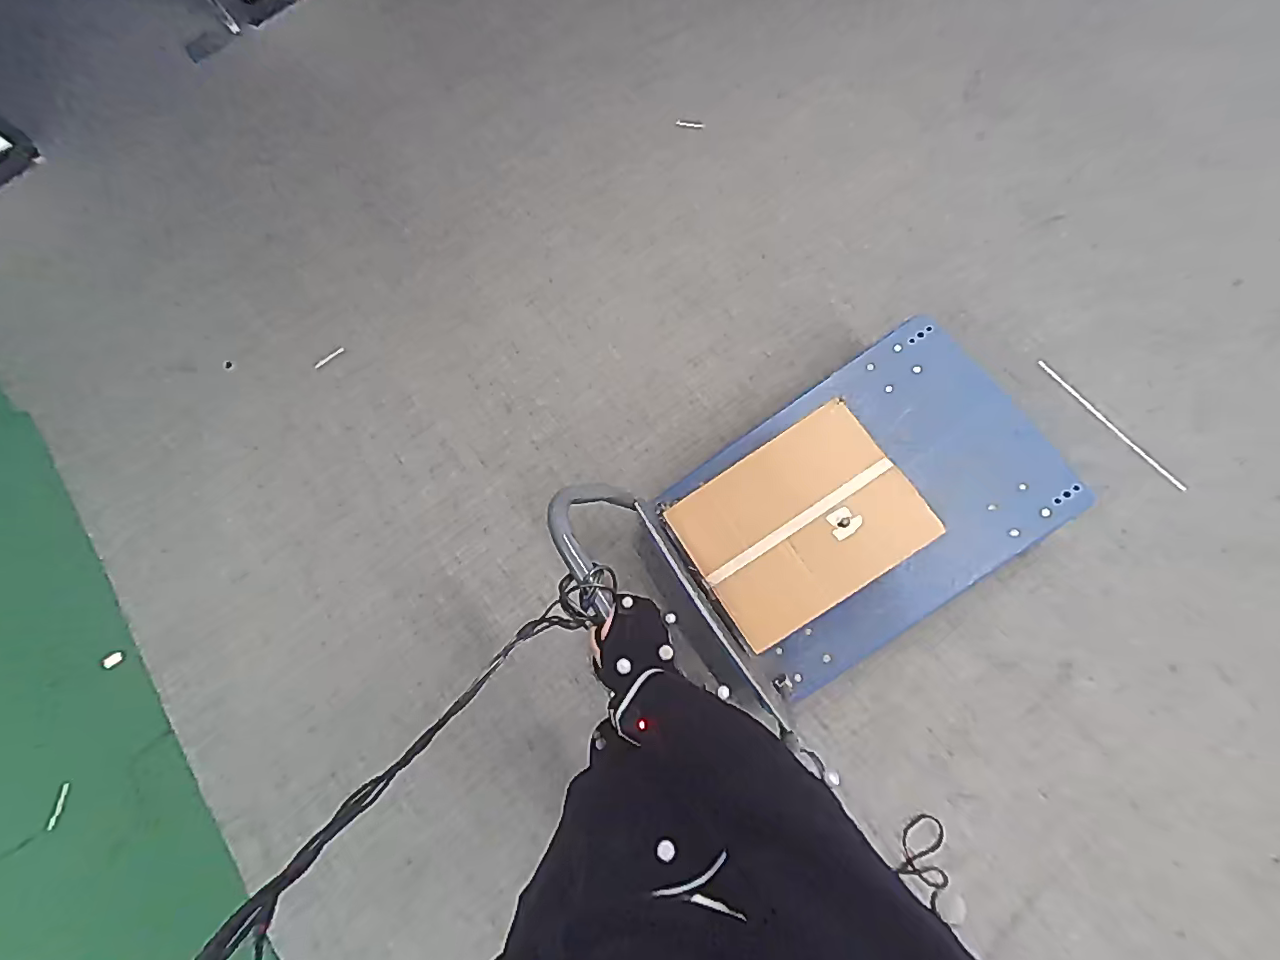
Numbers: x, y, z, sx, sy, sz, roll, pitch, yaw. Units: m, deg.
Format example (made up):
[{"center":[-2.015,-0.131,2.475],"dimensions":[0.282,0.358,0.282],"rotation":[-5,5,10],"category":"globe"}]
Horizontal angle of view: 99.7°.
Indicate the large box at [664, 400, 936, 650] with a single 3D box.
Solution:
[{"center":[0.310,0.106,1.147],"dimensions":[0.408,0.320,0.320],"rotation":[-33,77,2],"category":"large box"}]
